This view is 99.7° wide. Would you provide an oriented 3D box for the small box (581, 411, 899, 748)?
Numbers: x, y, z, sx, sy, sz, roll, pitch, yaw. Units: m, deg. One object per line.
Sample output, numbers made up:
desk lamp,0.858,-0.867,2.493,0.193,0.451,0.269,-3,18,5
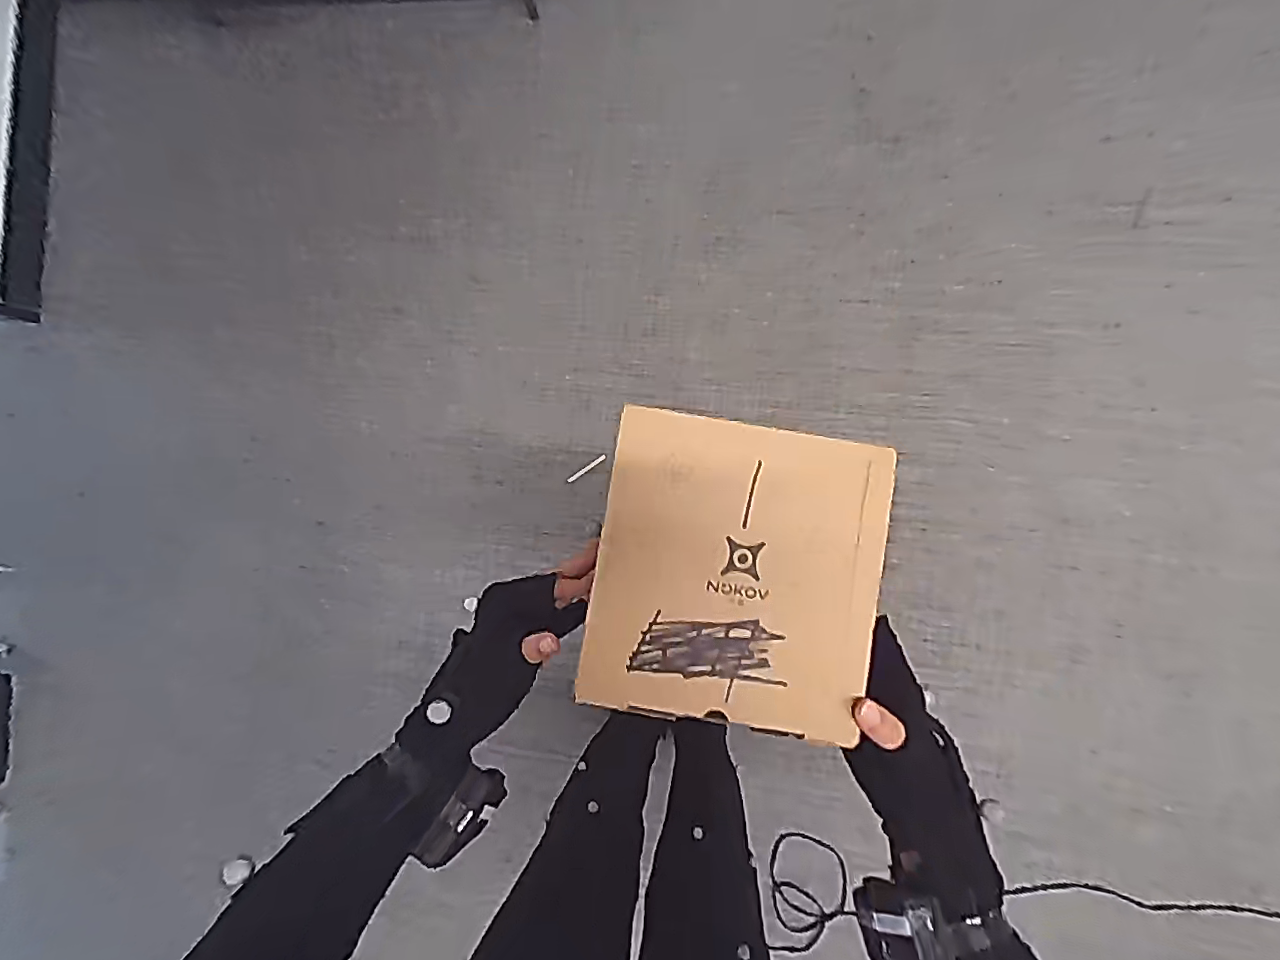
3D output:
small box,0.059,0.061,0.394,0.168,0.176,0.179,9,86,0
